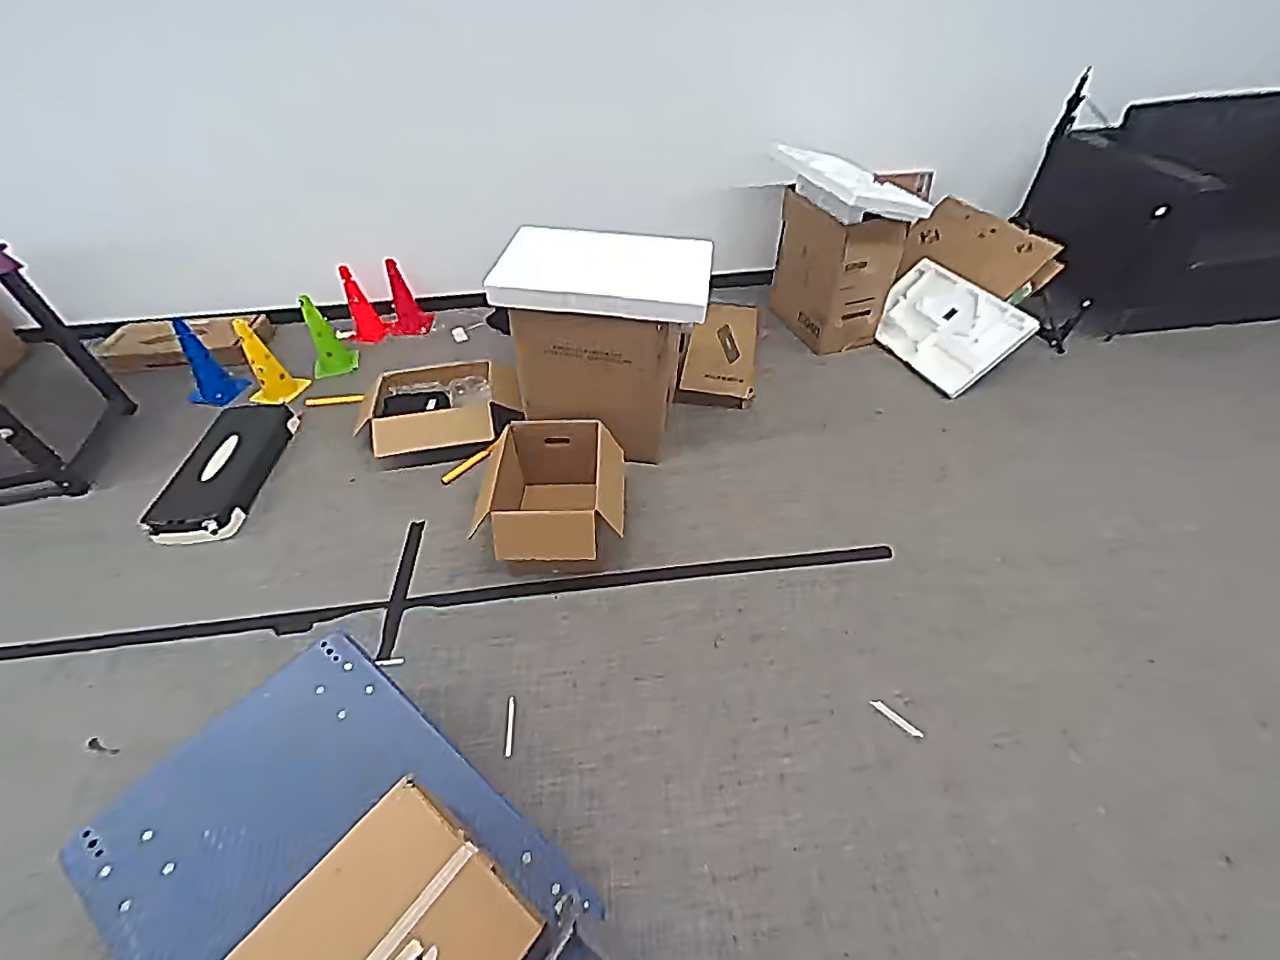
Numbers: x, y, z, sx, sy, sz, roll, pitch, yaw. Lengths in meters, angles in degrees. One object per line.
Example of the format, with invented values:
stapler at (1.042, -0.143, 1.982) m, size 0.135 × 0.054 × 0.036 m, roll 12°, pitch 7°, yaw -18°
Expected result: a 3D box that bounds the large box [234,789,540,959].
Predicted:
large box at (-0.400, 0.777, 0.818) m, size 0.320 × 0.320 × 0.408 m, roll 35°, pitch 55°, yaw 17°
